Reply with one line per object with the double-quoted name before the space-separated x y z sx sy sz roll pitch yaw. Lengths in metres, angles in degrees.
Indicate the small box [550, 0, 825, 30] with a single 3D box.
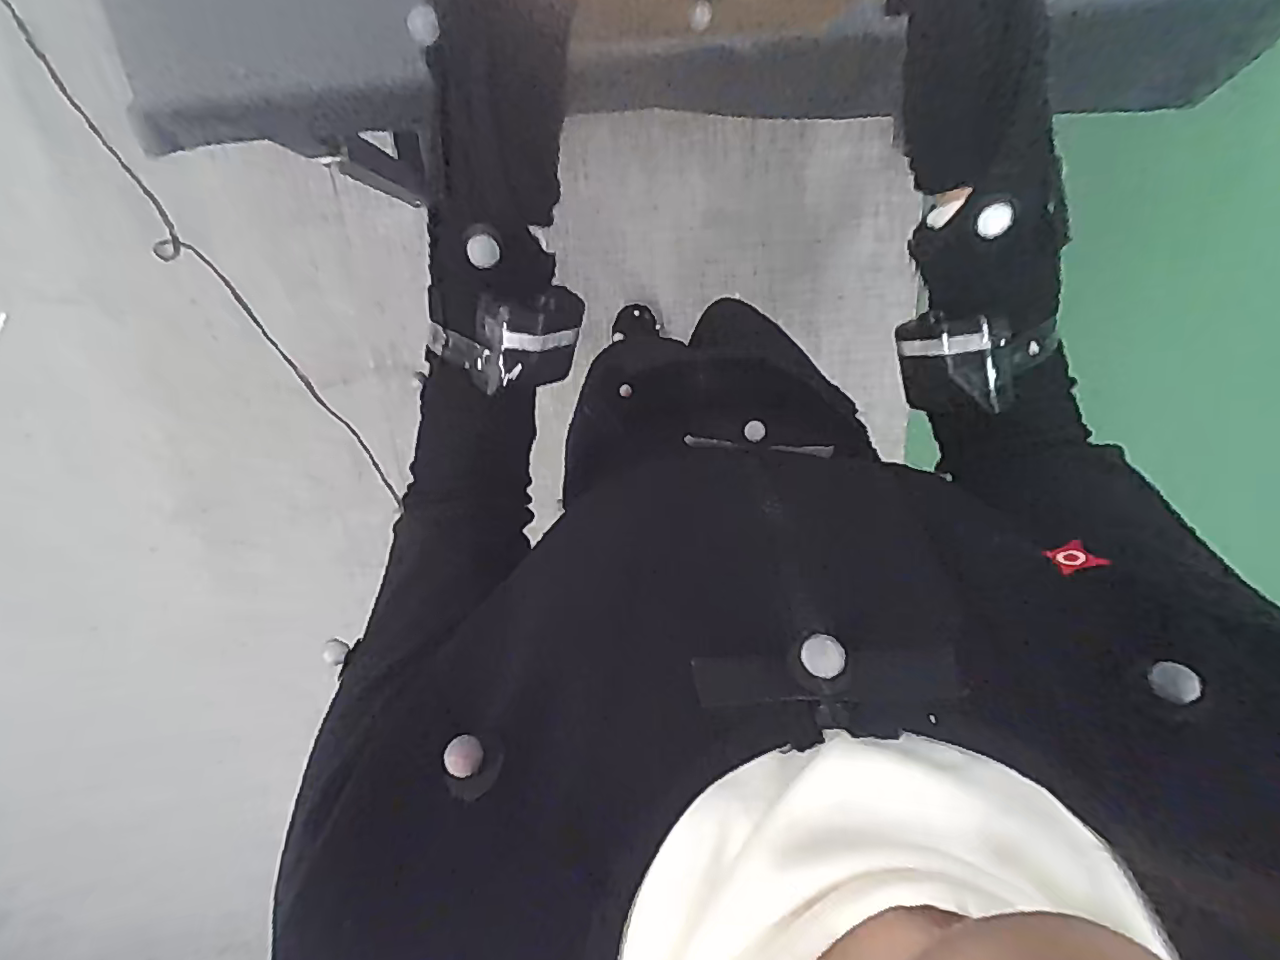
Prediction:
"small box" 0.033 -0.328 0.243 0.179 0.176 0.168 -4 119 -1
